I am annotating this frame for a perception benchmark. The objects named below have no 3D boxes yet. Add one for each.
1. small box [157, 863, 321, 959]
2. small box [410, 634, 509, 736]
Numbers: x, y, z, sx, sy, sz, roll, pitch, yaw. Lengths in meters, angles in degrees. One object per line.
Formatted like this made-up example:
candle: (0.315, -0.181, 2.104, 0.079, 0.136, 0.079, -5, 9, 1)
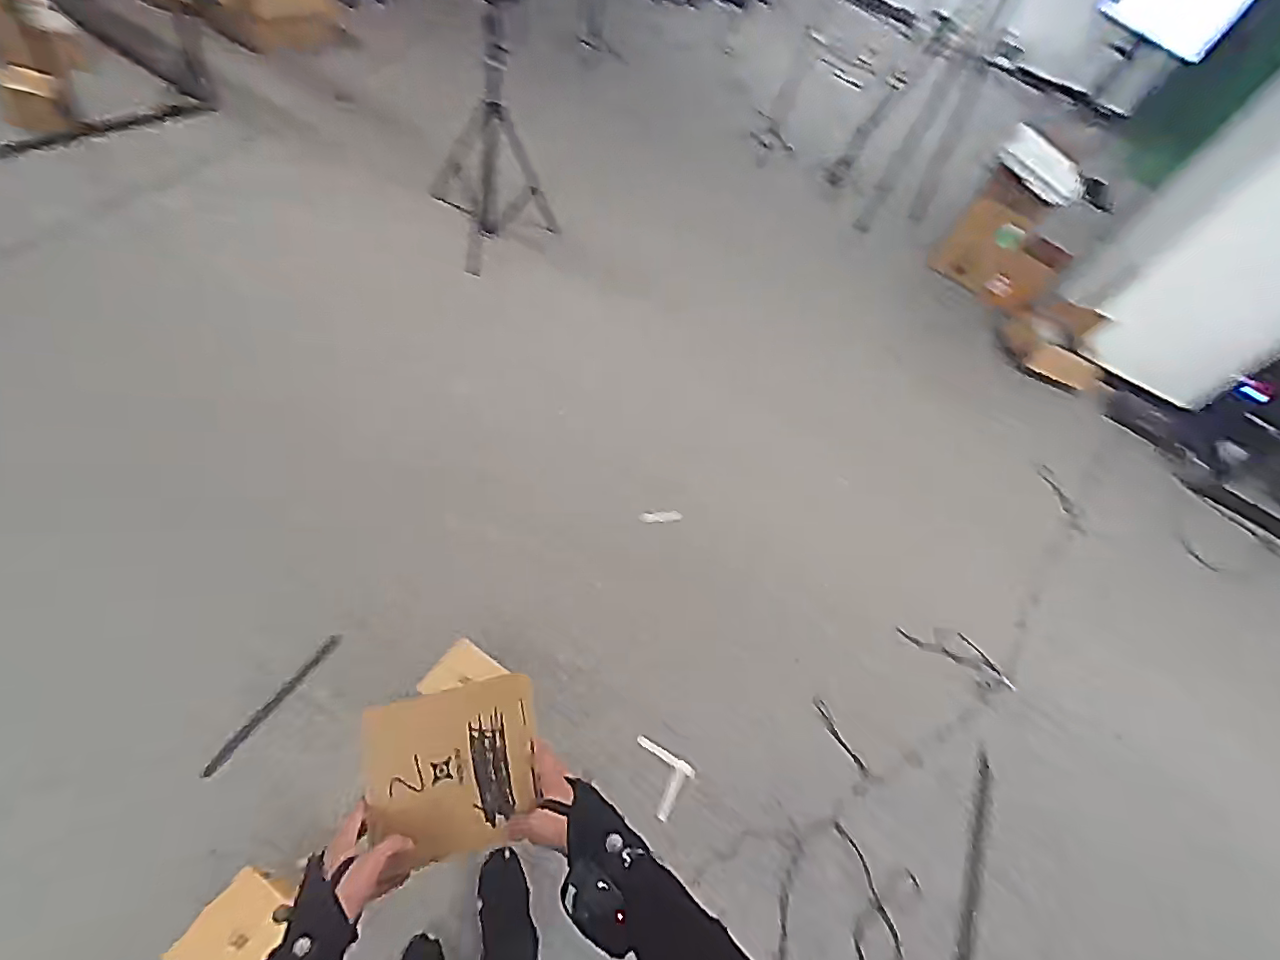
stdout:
small box: (-0.767, 0.884, 1.059, 0.179, 0.176, 0.168, 33, 53, 8)
small box: (-0.463, 0.537, 1.401, 0.179, 0.176, 0.168, 34, 52, 9)
